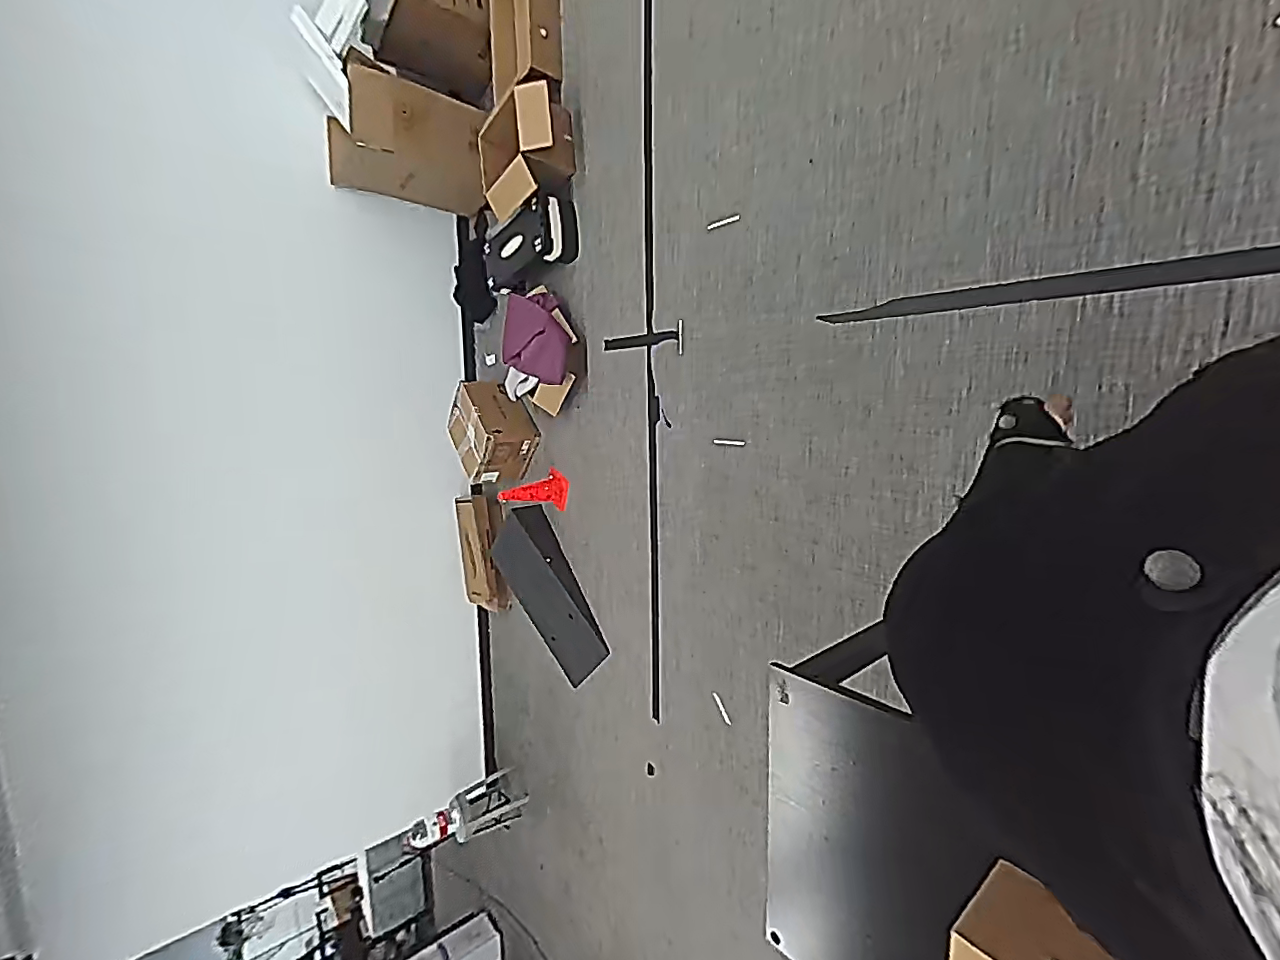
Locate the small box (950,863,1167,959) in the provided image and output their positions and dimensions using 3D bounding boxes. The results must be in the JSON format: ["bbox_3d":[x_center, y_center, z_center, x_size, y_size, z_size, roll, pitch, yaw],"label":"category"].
[{"bbox_3d":[0.497,0.617,0.649,0.179,0.176,0.168,10,103,51],"label":"small box"}]
